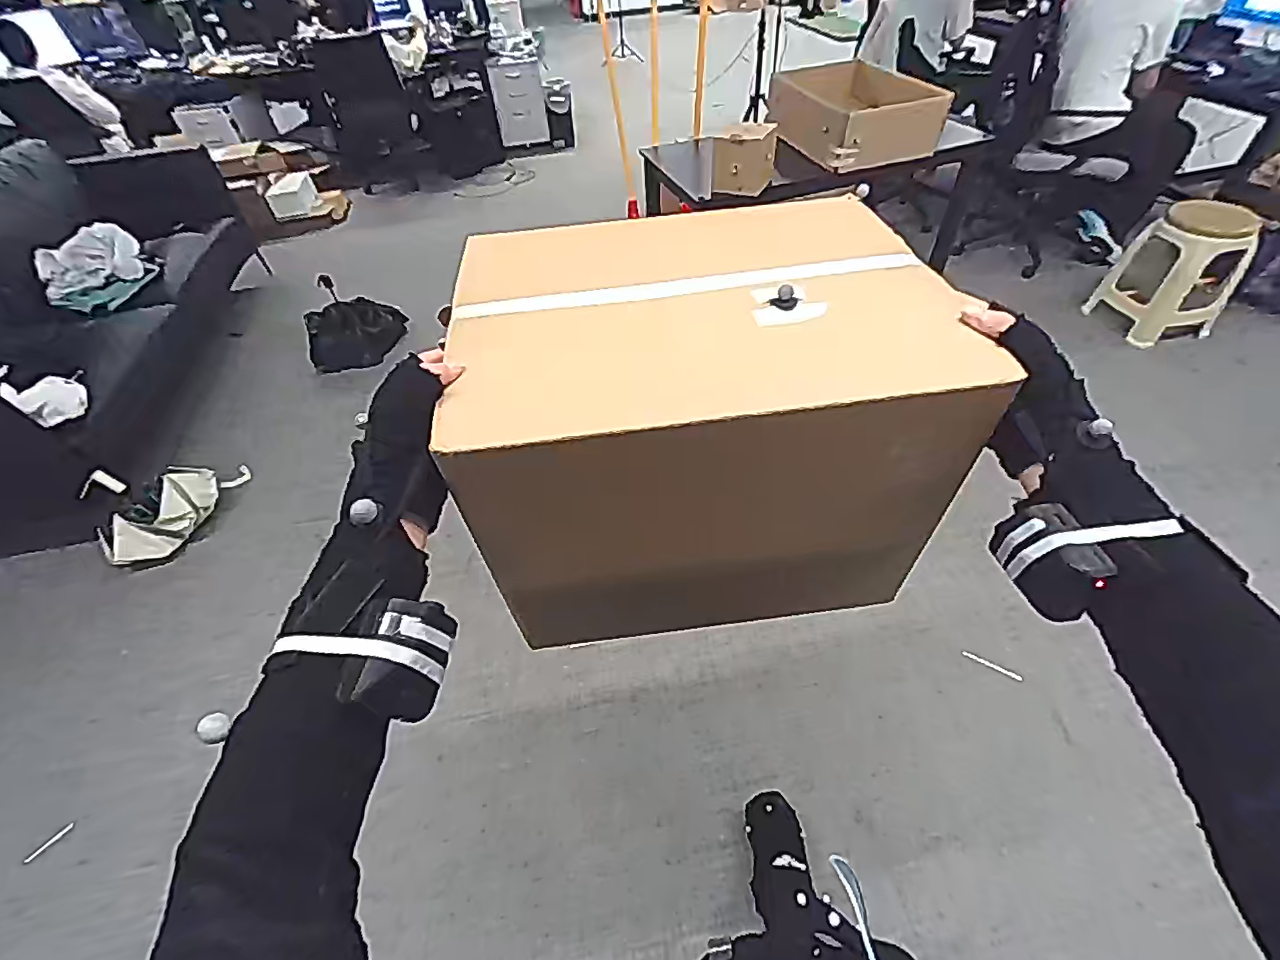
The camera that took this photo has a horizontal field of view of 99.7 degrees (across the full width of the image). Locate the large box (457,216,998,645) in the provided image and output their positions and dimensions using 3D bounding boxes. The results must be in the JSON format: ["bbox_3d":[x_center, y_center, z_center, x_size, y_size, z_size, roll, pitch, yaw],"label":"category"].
[{"bbox_3d":[0.053,-0.052,0.589,0.408,0.320,0.320,-7,49,-3],"label":"large box"}]
